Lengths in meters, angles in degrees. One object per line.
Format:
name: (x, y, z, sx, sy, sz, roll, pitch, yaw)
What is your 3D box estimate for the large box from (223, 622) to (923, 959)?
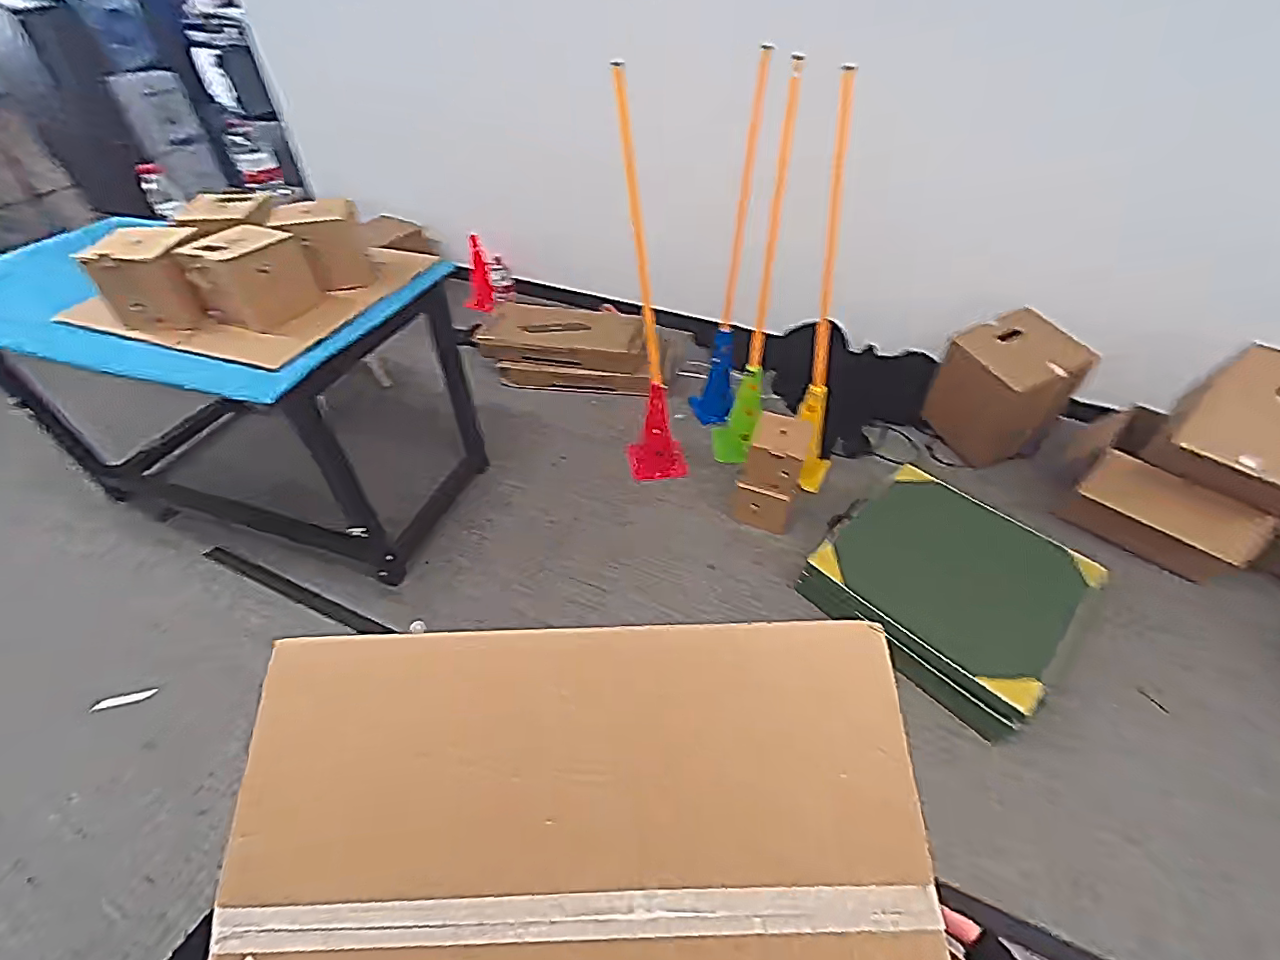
large box: (-0.038, 0.306, 0.453, 0.408, 0.320, 0.320, -2, 68, 0)
